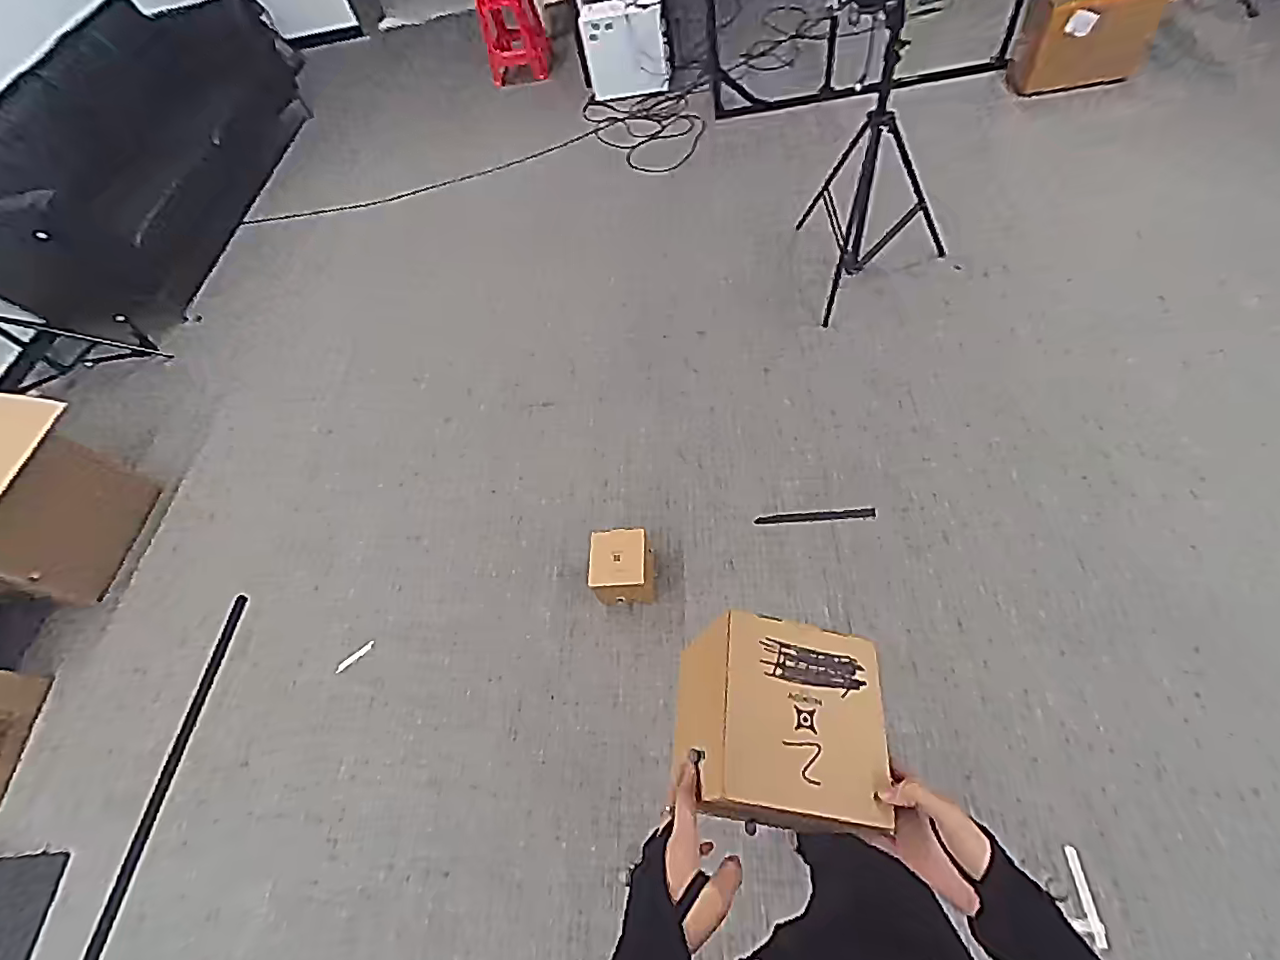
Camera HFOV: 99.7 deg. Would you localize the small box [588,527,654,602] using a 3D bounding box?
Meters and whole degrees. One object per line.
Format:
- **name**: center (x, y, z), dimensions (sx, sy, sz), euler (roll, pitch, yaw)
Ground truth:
- **small box**: center (-0.052, 0.260, 1.644), dimensions (0.168, 0.176, 0.179), euler (-5, 58, 10)
